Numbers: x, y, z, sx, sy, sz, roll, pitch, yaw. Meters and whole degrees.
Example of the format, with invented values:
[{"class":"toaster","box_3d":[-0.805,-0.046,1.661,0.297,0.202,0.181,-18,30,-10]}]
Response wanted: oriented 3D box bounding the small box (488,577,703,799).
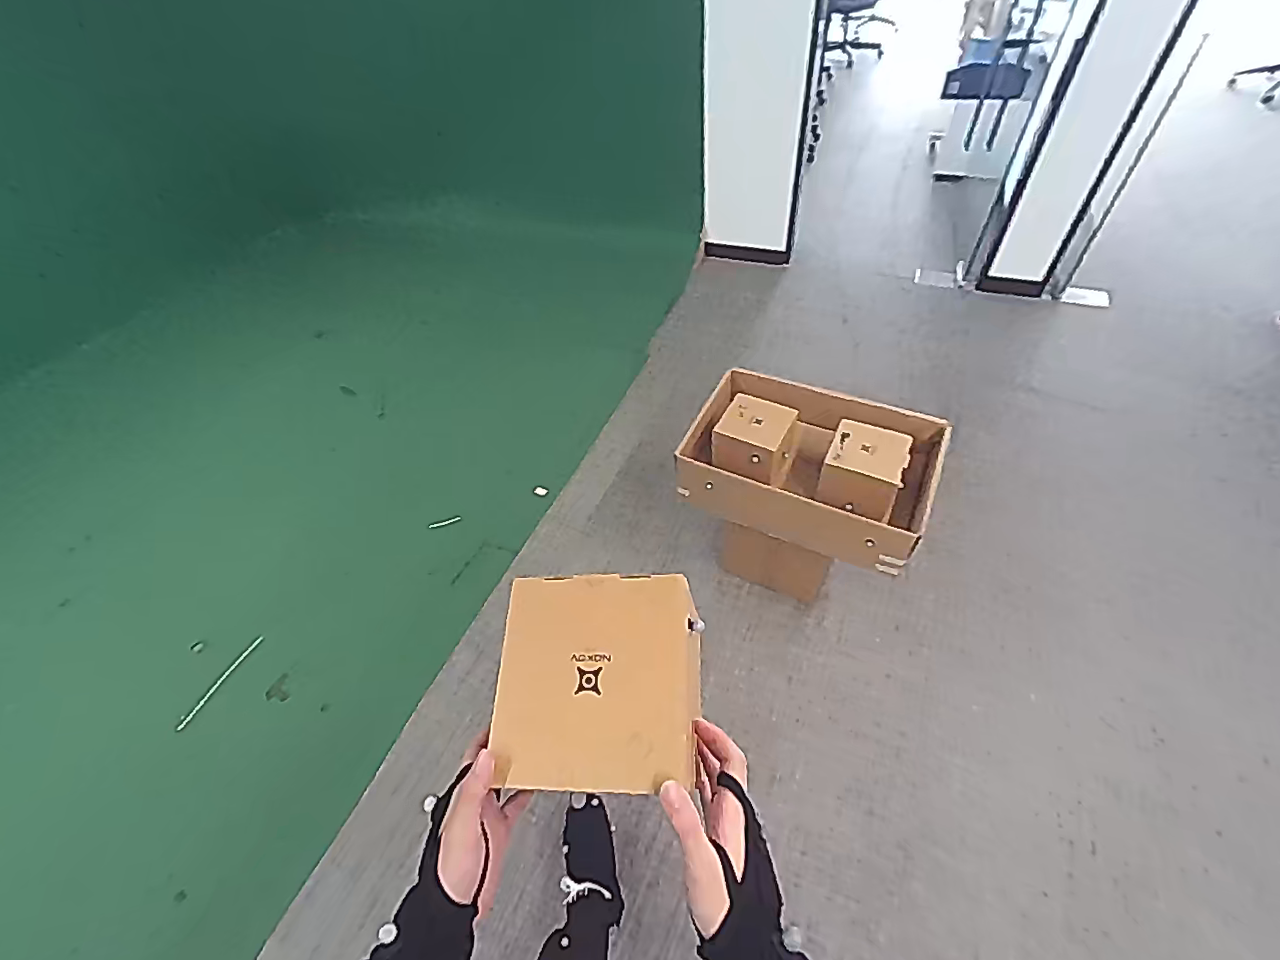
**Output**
[{"class":"small box","box_3d":[-0.027,0.205,0.531,0.168,0.176,0.179,-3,61,10]}]
